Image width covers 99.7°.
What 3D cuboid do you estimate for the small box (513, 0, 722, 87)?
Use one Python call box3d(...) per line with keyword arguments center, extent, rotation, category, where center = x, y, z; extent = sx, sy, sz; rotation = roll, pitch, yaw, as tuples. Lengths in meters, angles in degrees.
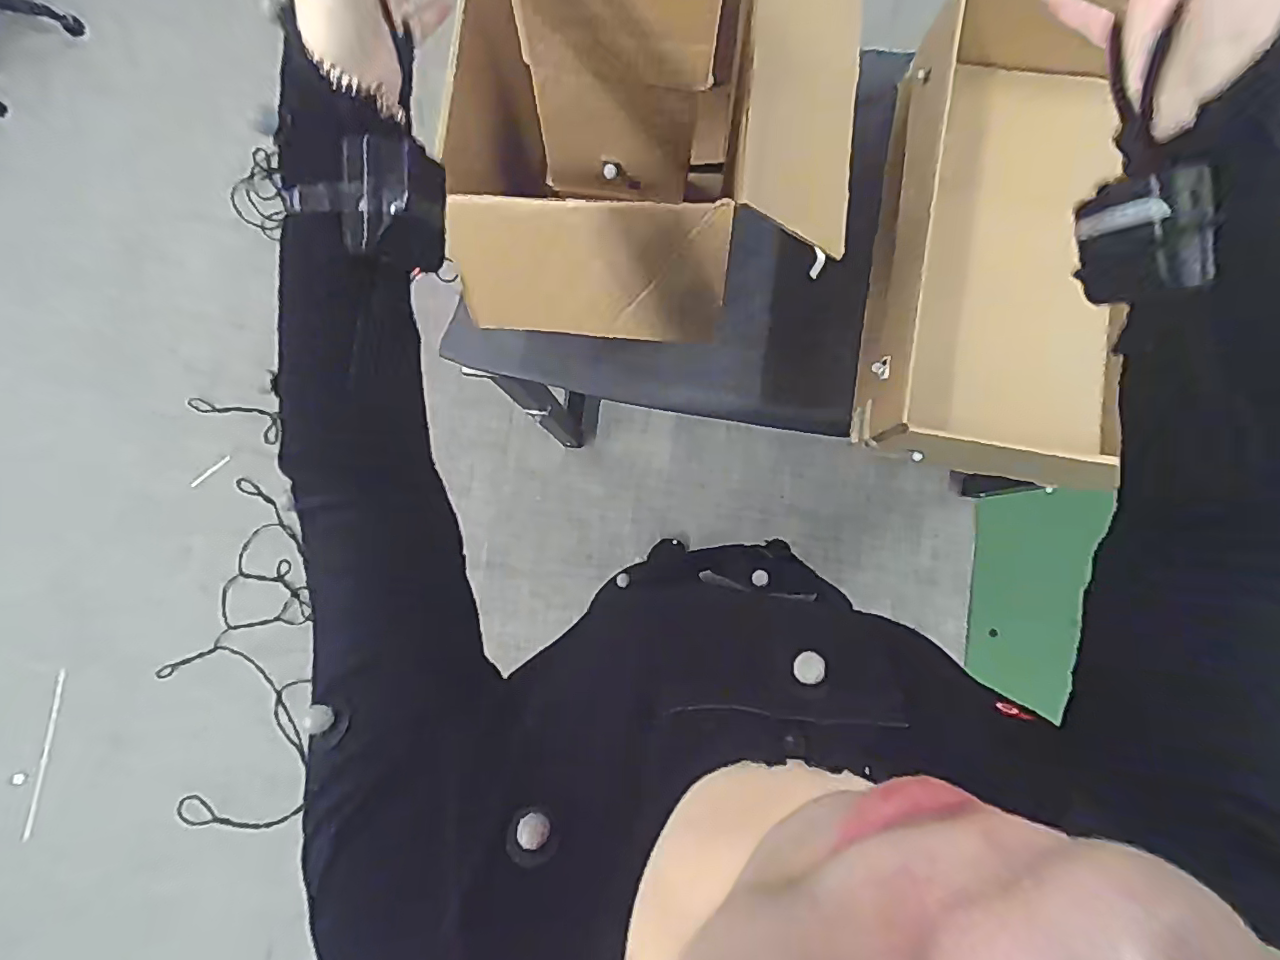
box3d(center=(-0.011, -0.463, 0.436), extent=(0.179, 0.176, 0.168), rotation=(8, 82, -1), category="small box")
